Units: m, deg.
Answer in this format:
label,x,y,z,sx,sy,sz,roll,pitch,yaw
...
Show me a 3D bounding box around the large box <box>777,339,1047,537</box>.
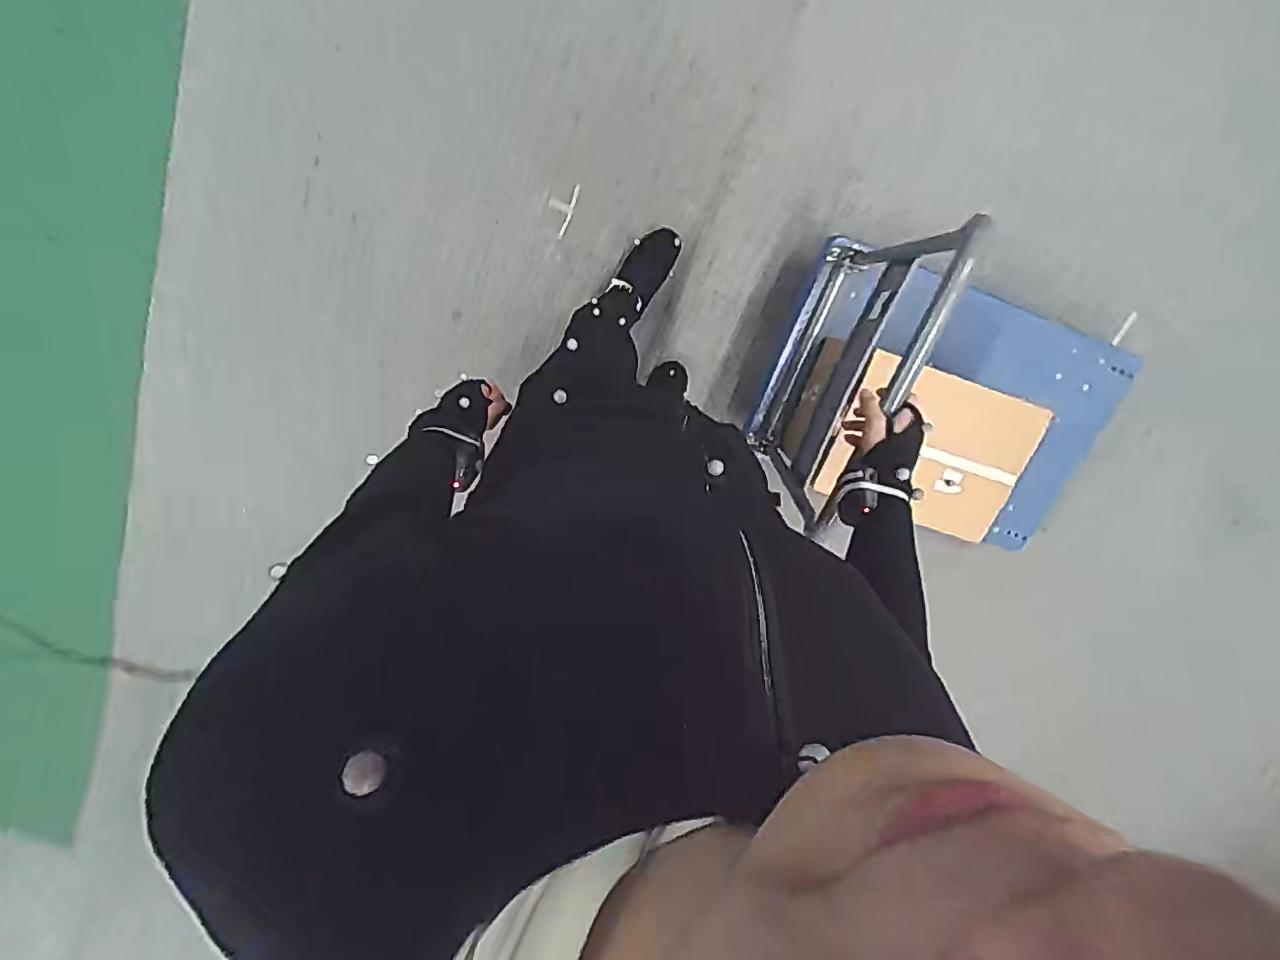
label,x,y,z,sx,sy,sz,roll,pitch,yaw
large box,0.591,-0.114,1.262,0.408,0.320,0.320,18,109,-6
